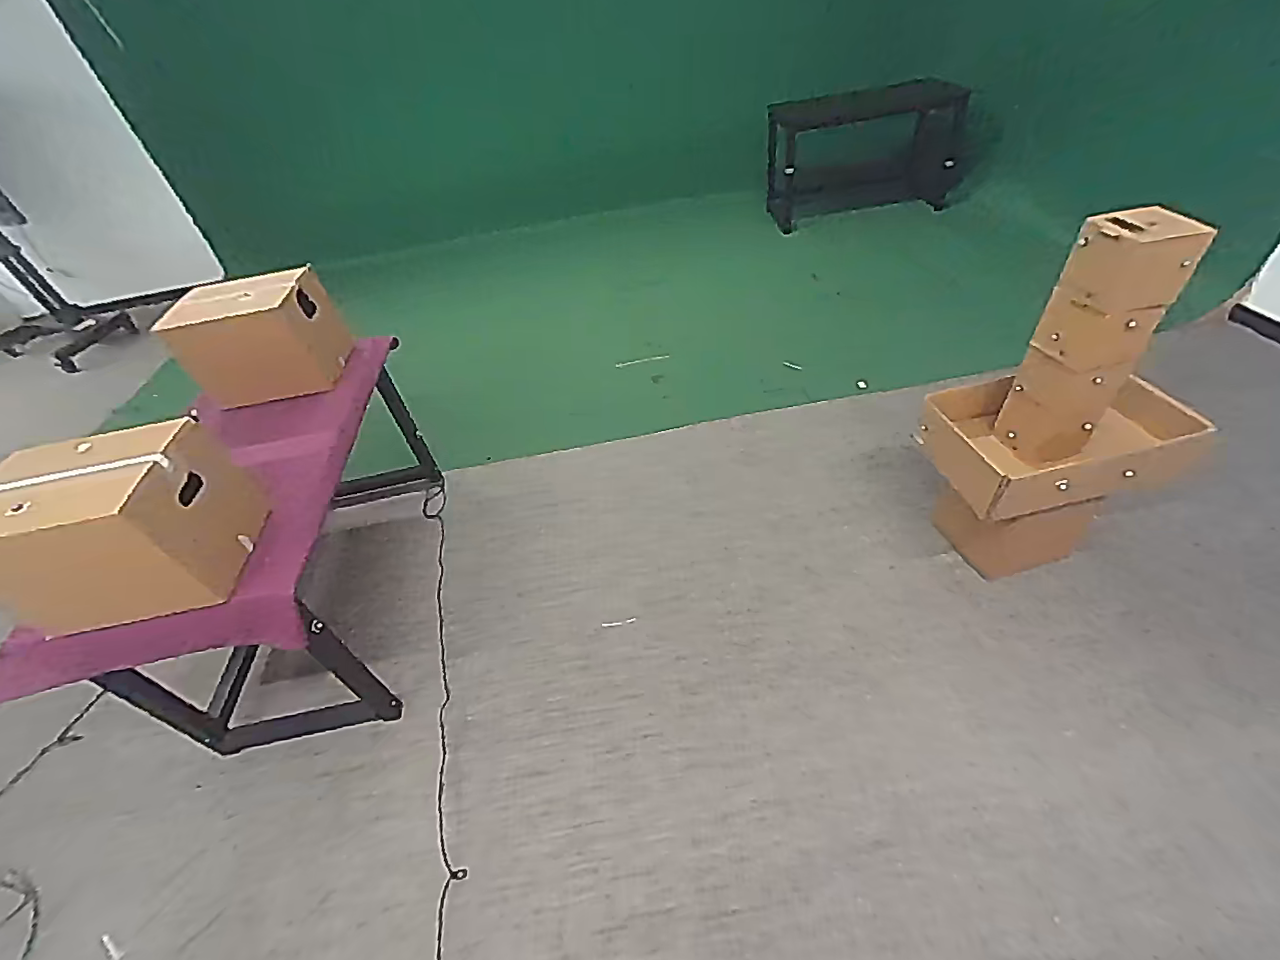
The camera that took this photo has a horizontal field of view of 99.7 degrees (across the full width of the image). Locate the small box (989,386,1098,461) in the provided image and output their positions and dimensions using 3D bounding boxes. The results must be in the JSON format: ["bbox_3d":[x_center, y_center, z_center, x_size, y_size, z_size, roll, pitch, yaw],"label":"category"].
[{"bbox_3d":[1.202,-0.181,1.627,0.179,0.176,0.168,-12,43,-4],"label":"small box"}]

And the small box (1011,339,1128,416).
[{"bbox_3d":[1.185,-0.299,1.515,0.179,0.176,0.168,-12,44,-6],"label":"small box"}]

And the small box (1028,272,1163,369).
[{"bbox_3d":[1.165,-0.412,1.401,0.179,0.176,0.168,-14,44,-5],"label":"small box"}]

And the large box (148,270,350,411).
[{"bbox_3d":[-1.286,-0.471,1.829,0.408,0.320,0.320,-10,45,-1],"label":"large box"}]
